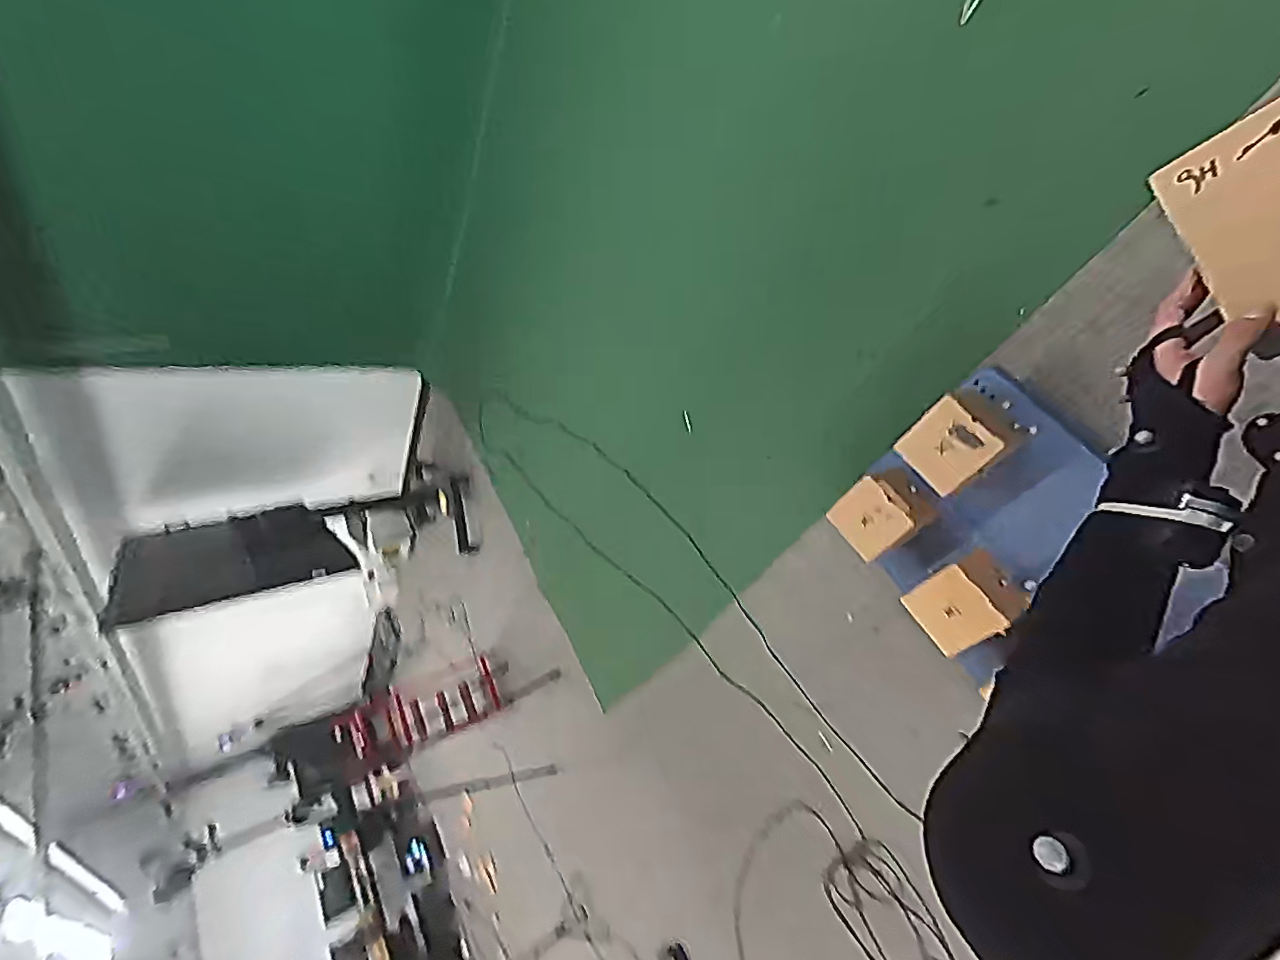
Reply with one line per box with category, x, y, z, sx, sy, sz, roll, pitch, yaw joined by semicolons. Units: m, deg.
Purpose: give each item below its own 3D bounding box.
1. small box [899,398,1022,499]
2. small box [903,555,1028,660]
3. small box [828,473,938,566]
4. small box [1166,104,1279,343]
small box;0.770;-0.081;1.291;0.168;0.176;0.179;56;135;26
small box;0.796;0.307;1.322;0.168;0.176;0.179;57;134;26
small box;0.651;0.101;1.444;0.168;0.176;0.179;55;134;25
small box;0.610;-0.231;0.464;0.168;0.176;0.179;-28;70;50
